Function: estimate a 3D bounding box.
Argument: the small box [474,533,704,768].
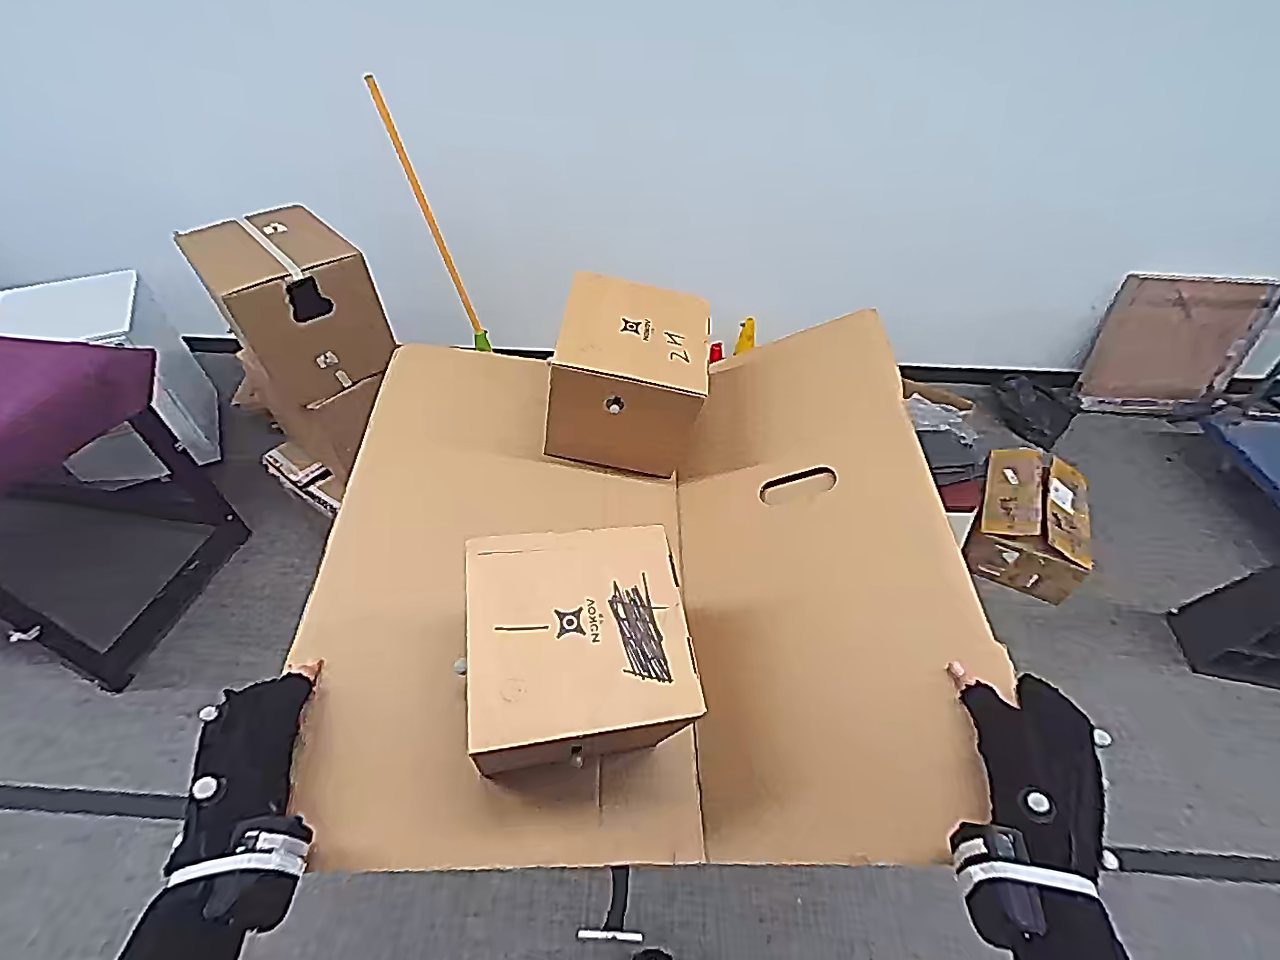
[{"bbox_3d":[-0.061,0.162,0.507,0.179,0.176,0.168,-2,58,-14],"label":"small box"}]

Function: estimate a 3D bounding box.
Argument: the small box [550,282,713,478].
[{"bbox_3d":[-0.015,-0.122,0.705,0.179,0.176,0.168,12,56,-6],"label":"small box"}]
